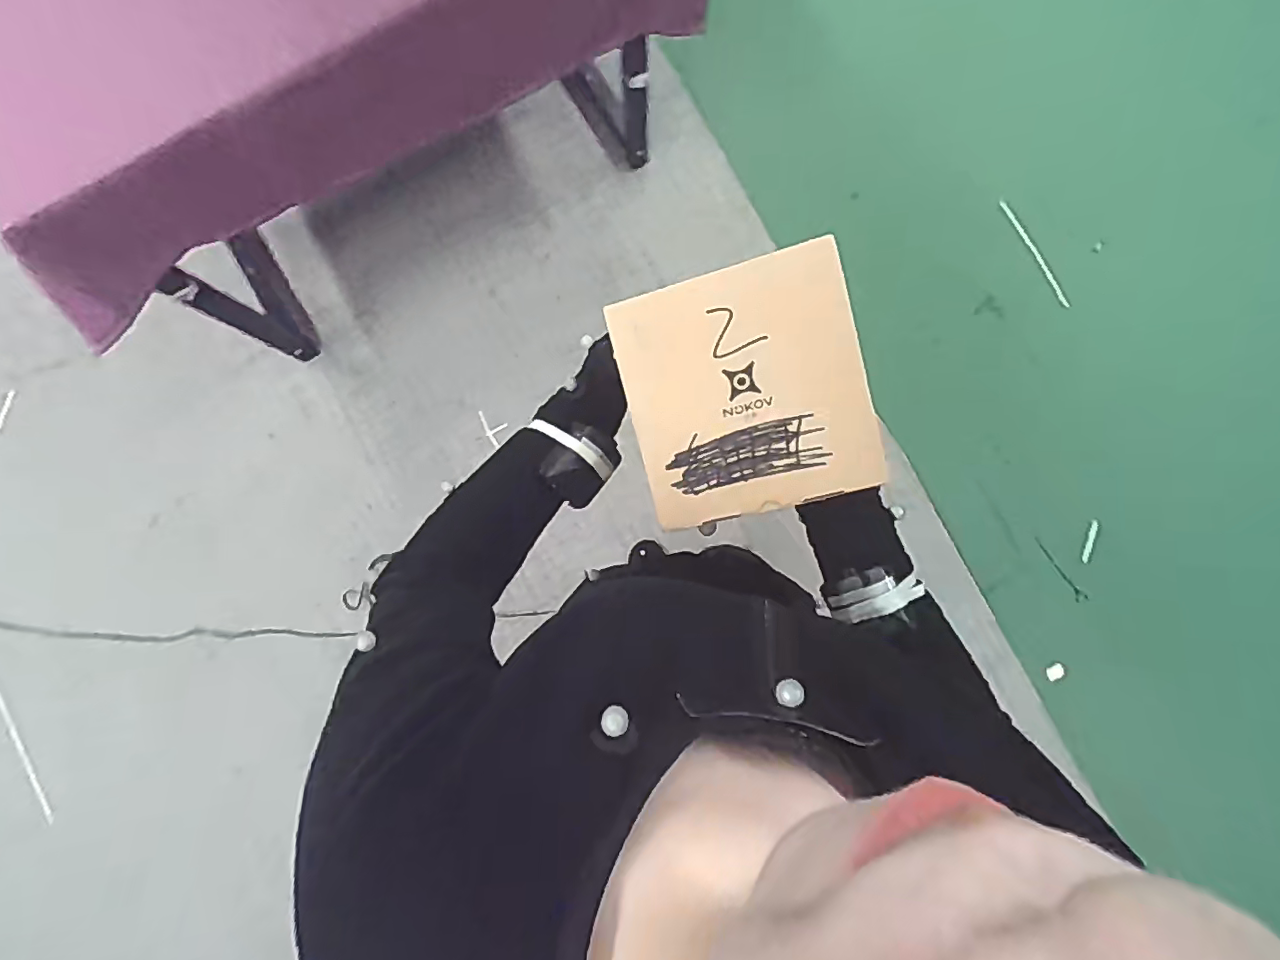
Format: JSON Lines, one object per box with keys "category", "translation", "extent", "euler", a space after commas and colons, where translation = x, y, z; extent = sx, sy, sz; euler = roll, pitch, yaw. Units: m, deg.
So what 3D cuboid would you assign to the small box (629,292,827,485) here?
{"category": "small box", "translation": [0.103, -0.099, 0.626], "extent": [0.179, 0.176, 0.168], "euler": [-12, 96, 12]}
